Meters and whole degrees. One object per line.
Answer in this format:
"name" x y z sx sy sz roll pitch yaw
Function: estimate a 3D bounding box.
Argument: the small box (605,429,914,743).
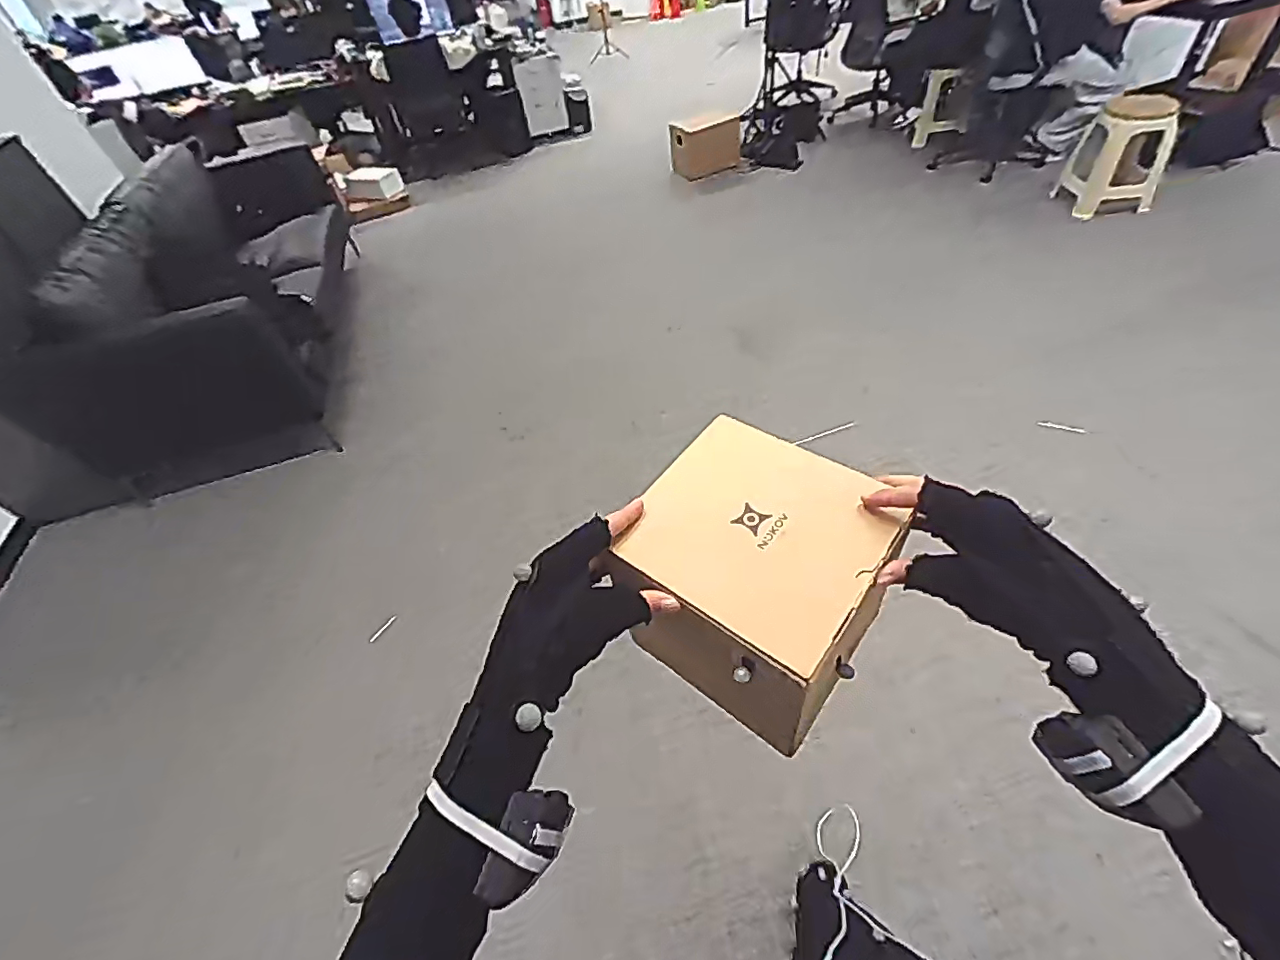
"small box" 0.097 0.091 0.467 0.179 0.176 0.168 29 60 29
